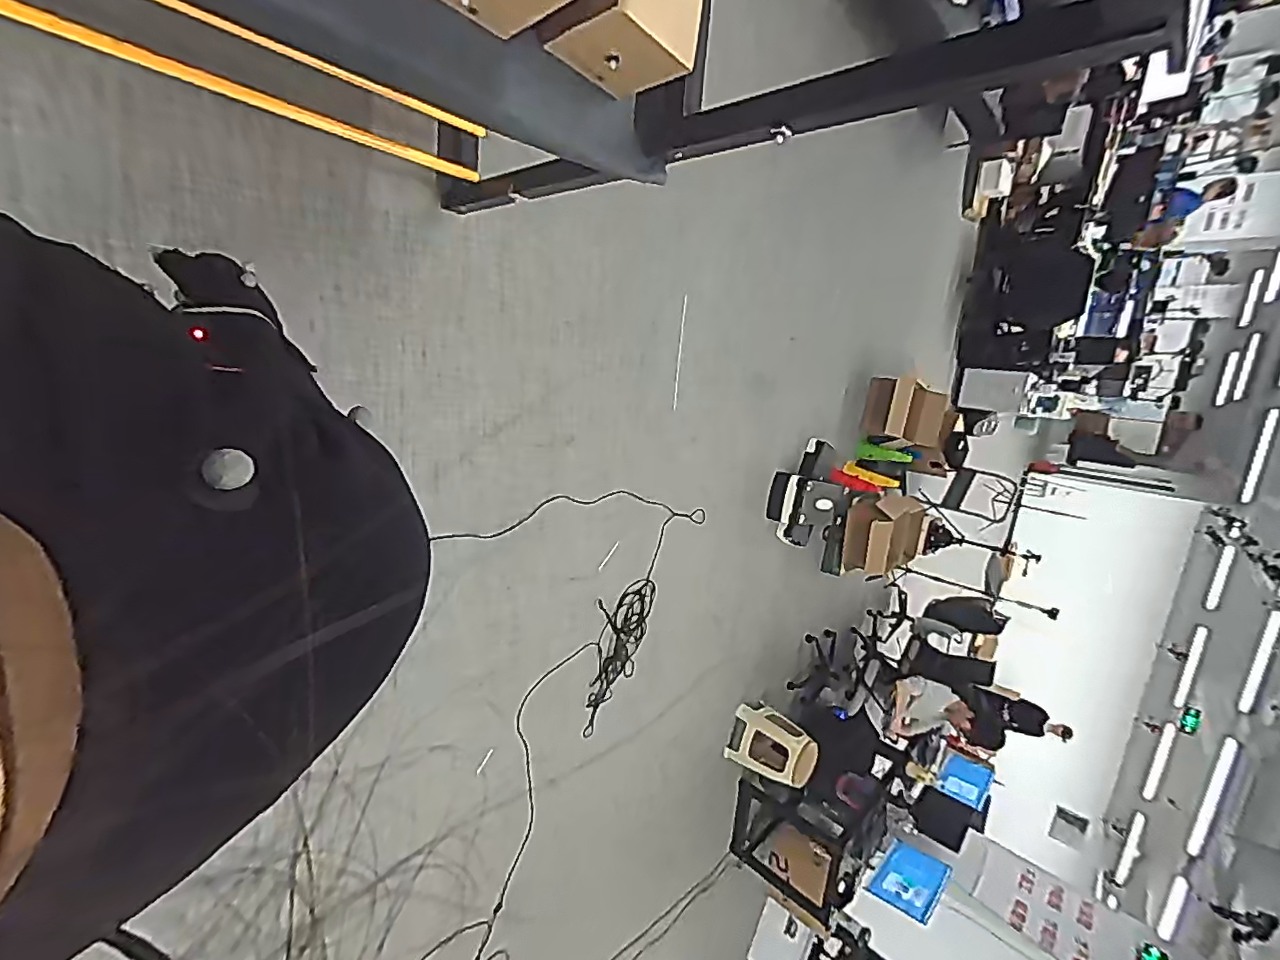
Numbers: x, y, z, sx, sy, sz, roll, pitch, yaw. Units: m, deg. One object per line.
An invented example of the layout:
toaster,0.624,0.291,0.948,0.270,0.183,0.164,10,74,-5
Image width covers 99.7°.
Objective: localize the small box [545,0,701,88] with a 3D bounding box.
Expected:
small box,-0.024,-0.731,0.807,0.168,0.176,0.179,-2,104,-48
